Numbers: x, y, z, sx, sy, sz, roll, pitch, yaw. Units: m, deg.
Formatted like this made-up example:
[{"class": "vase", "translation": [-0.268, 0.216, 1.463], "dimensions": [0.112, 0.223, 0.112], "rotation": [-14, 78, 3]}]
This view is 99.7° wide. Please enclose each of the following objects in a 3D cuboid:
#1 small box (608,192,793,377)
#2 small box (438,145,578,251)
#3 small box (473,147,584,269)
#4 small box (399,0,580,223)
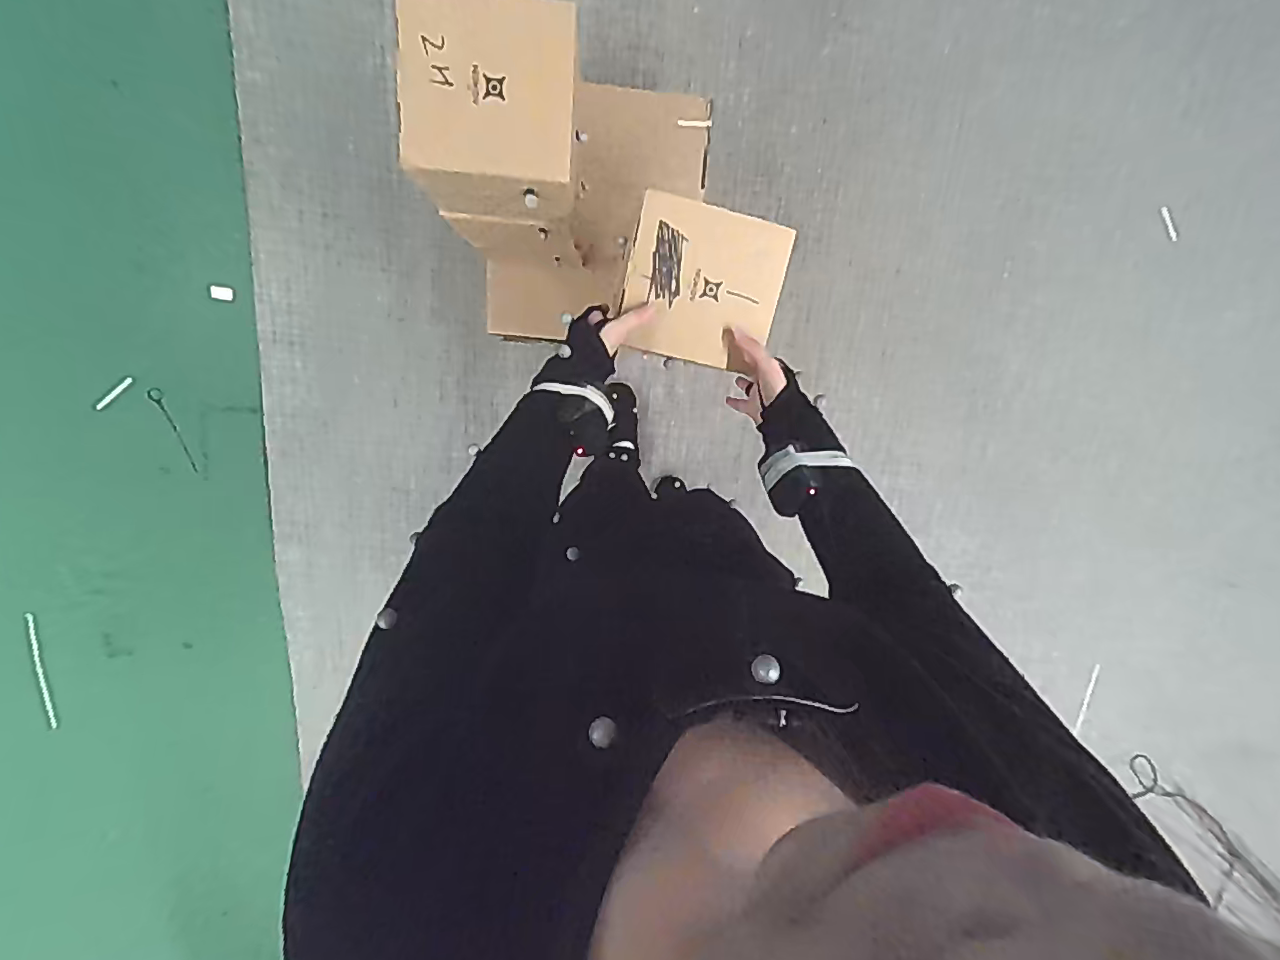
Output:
[{"class": "small box", "translation": [0.060, -0.232, 0.679], "dimensions": [0.179, 0.176, 0.168], "rotation": [11, 103, -9]}, {"class": "small box", "translation": [-0.183, -0.440, 0.786], "dimensions": [0.179, 0.176, 0.168], "rotation": [2, 101, -6]}, {"class": "small box", "translation": [-0.188, -0.472, 0.945], "dimensions": [0.179, 0.176, 0.168], "rotation": [1, 102, -4]}, {"class": "small box", "translation": [-0.161, -0.409, 0.625], "dimensions": [0.179, 0.176, 0.168], "rotation": [3, 101, -5]}]
